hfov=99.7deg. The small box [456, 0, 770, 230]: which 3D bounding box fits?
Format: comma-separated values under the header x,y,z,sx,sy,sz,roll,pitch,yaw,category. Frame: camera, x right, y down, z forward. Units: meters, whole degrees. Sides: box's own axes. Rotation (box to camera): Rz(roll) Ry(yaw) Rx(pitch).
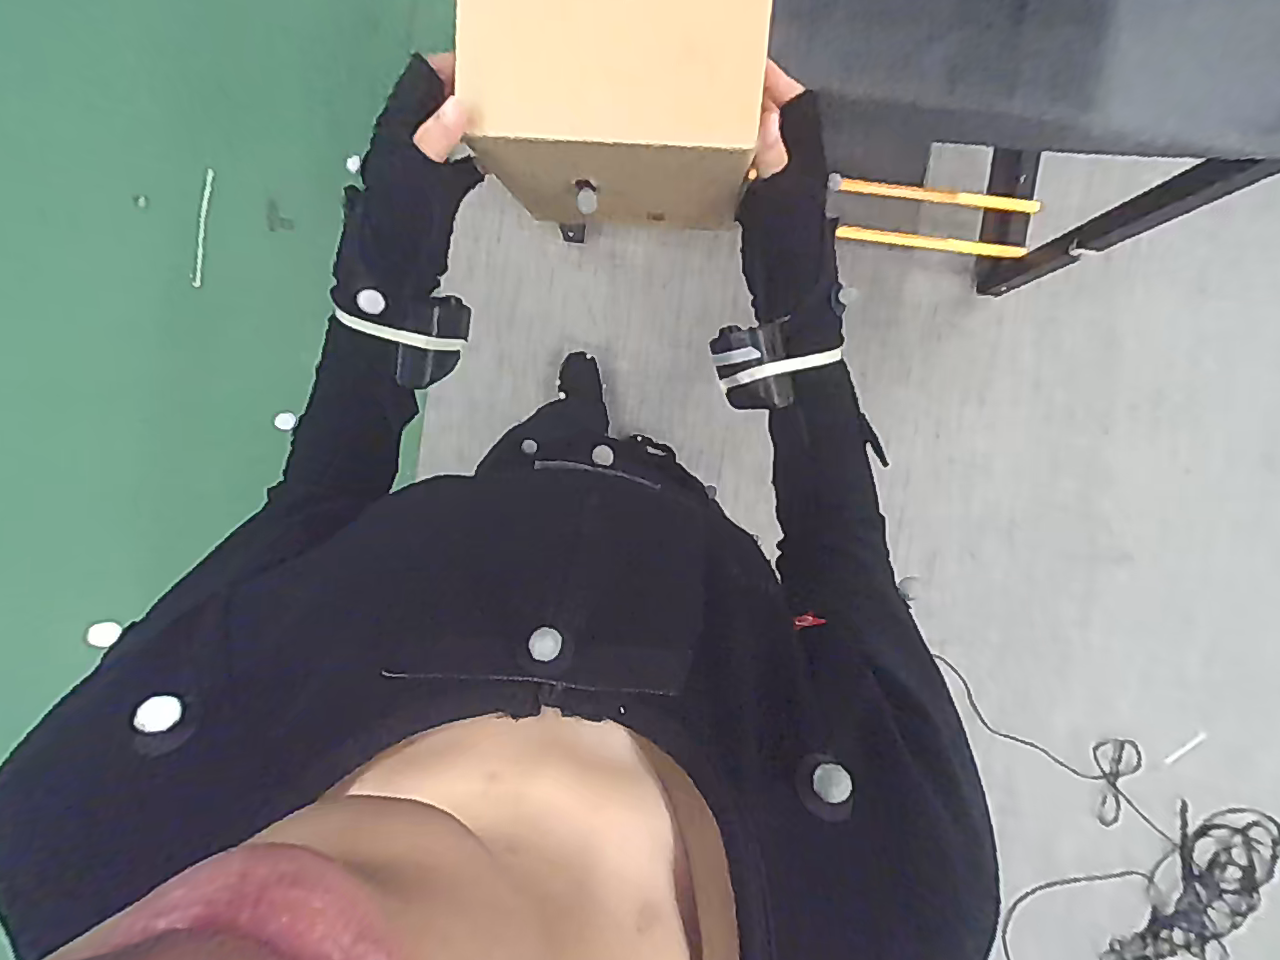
x,y,z,sx,sy,sz,roll,pitch,yaw,category
-0.006,-0.277,0.353,0.168,0.176,0.179,5,100,4,small box
